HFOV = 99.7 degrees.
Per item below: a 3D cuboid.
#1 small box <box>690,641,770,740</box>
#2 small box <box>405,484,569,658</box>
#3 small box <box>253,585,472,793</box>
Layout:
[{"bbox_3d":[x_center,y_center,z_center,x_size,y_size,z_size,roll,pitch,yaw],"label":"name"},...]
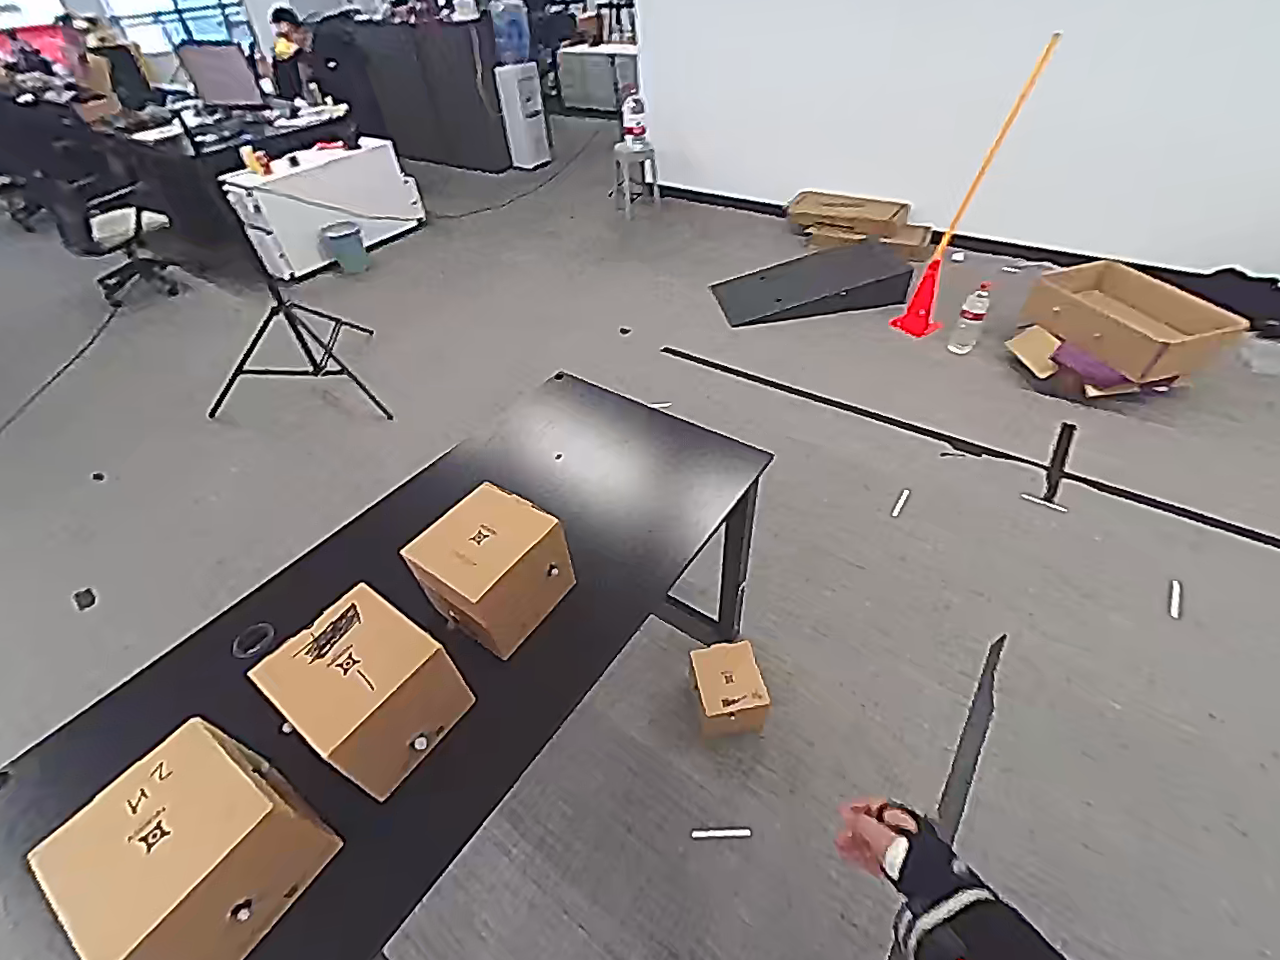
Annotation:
[{"bbox_3d":[0.230,0.560,1.435,0.168,0.176,0.179,-10,45,-5],"label":"small box"},{"bbox_3d":[-0.229,0.143,0.860,0.168,0.176,0.179,24,53,27],"label":"small box"},{"bbox_3d":[-0.360,0.283,0.729,0.179,0.176,0.168,26,53,26],"label":"small box"}]
